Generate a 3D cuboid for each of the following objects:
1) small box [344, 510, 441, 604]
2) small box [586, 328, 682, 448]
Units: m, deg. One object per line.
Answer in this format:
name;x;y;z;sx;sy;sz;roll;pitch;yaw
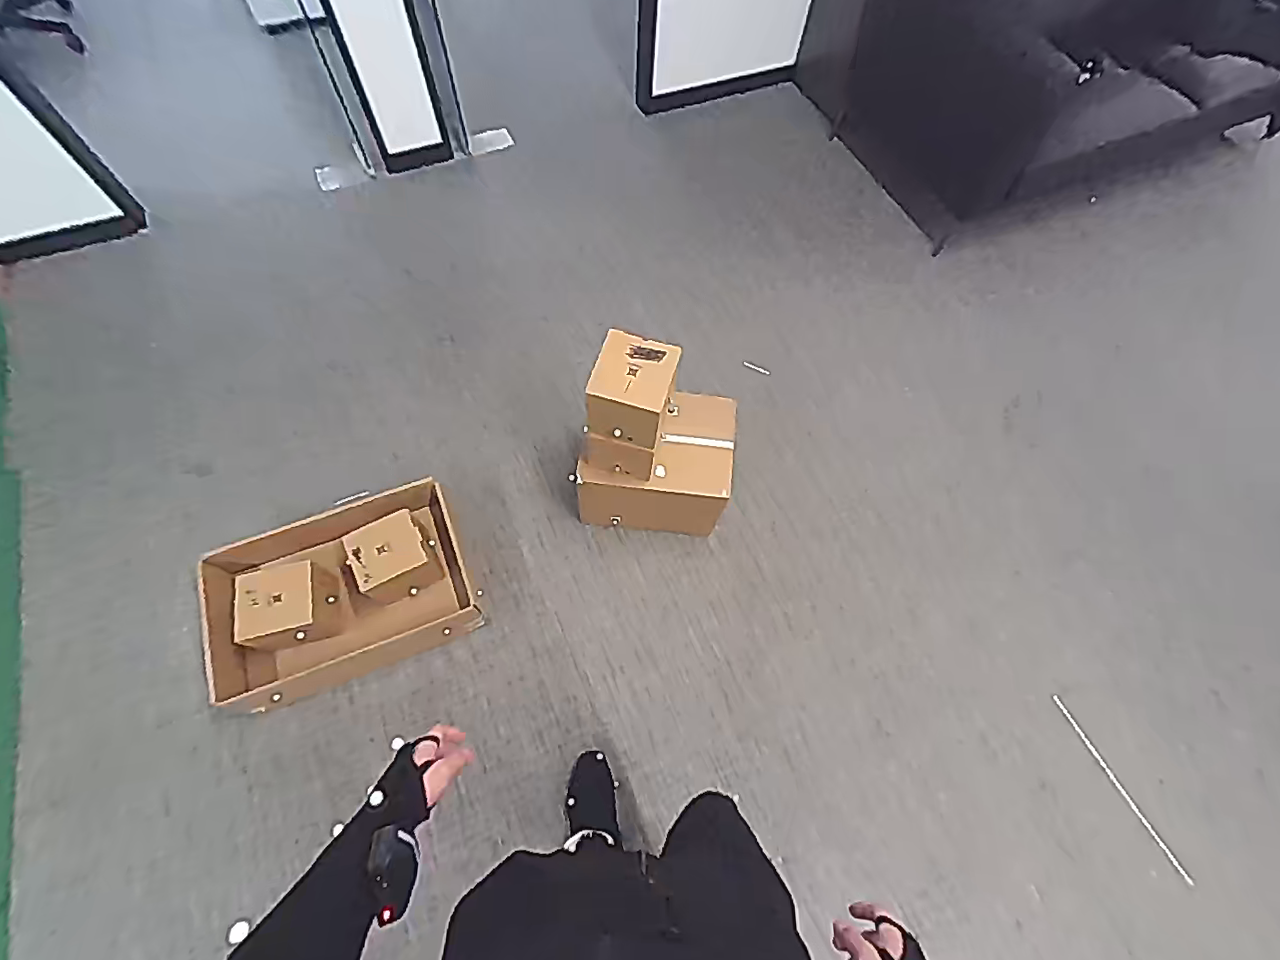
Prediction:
small box;-0.649;0.210;1.443;0.179;0.176;0.168;-25;69;-13
small box;-0.015;-0.199;1.197;0.168;0.176;0.179;16;67;5
